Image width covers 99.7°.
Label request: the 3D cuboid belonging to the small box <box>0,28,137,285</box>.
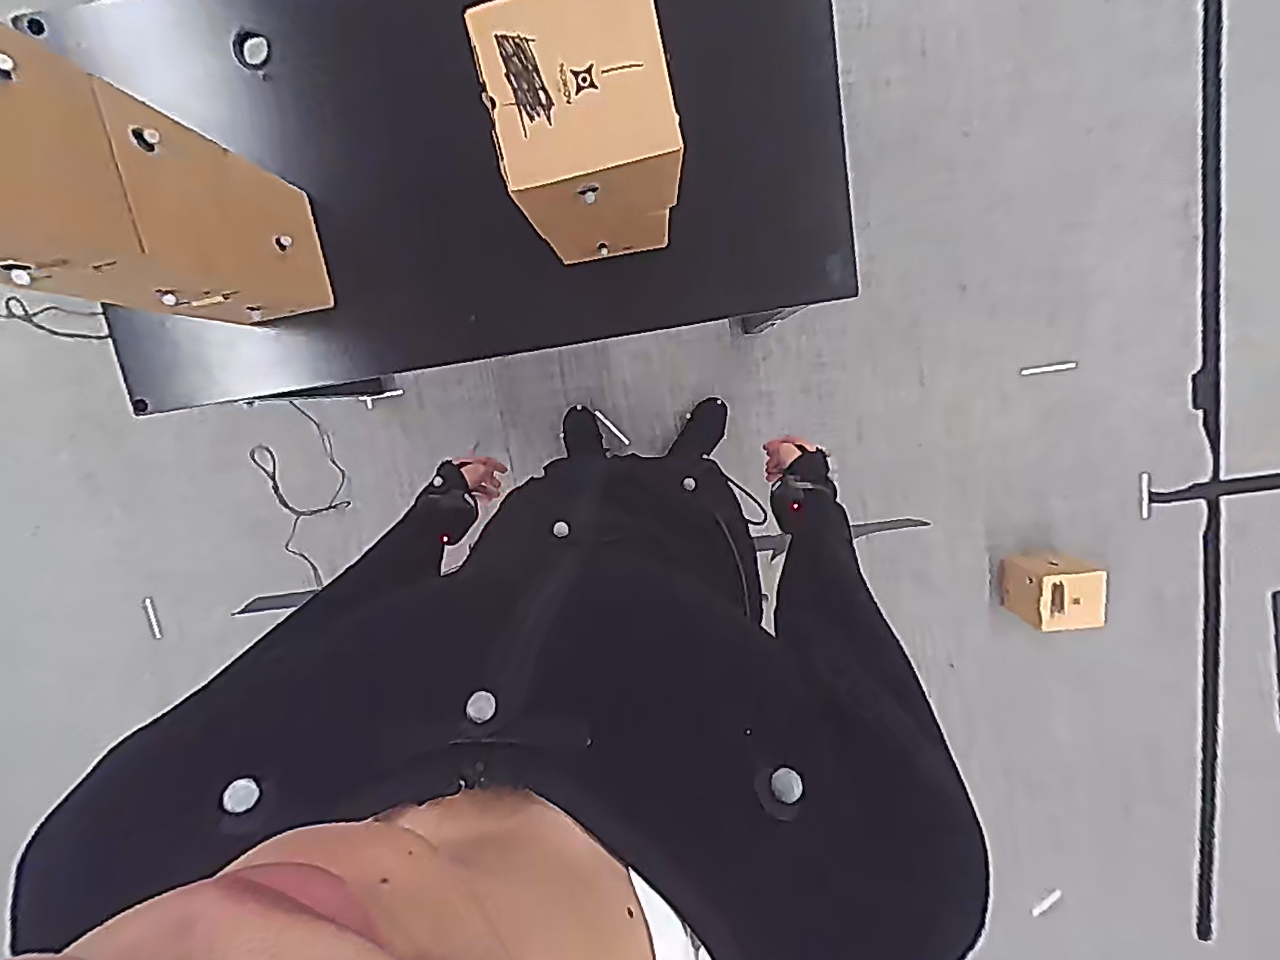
[{"bbox_3d":[-0.589,-0.279,0.449,0.168,0.176,0.179,-10,99,4],"label":"small box"}]

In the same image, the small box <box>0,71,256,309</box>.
[{"bbox_3d":[-0.586,-0.306,0.609,0.168,0.176,0.179,-9,99,4],"label":"small box"}]

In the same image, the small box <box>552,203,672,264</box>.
[{"bbox_3d":[-0.052,-0.418,0.744,0.168,0.176,0.179,-9,99,3],"label":"small box"}]

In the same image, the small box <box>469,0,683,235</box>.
[{"bbox_3d":[-0.056,-0.385,0.583,0.179,0.176,0.168,-12,99,3],"label":"small box"}]

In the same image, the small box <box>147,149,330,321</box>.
[{"bbox_3d":[-0.581,-0.331,0.772,0.168,0.176,0.179,-10,100,3],"label":"small box"}]
